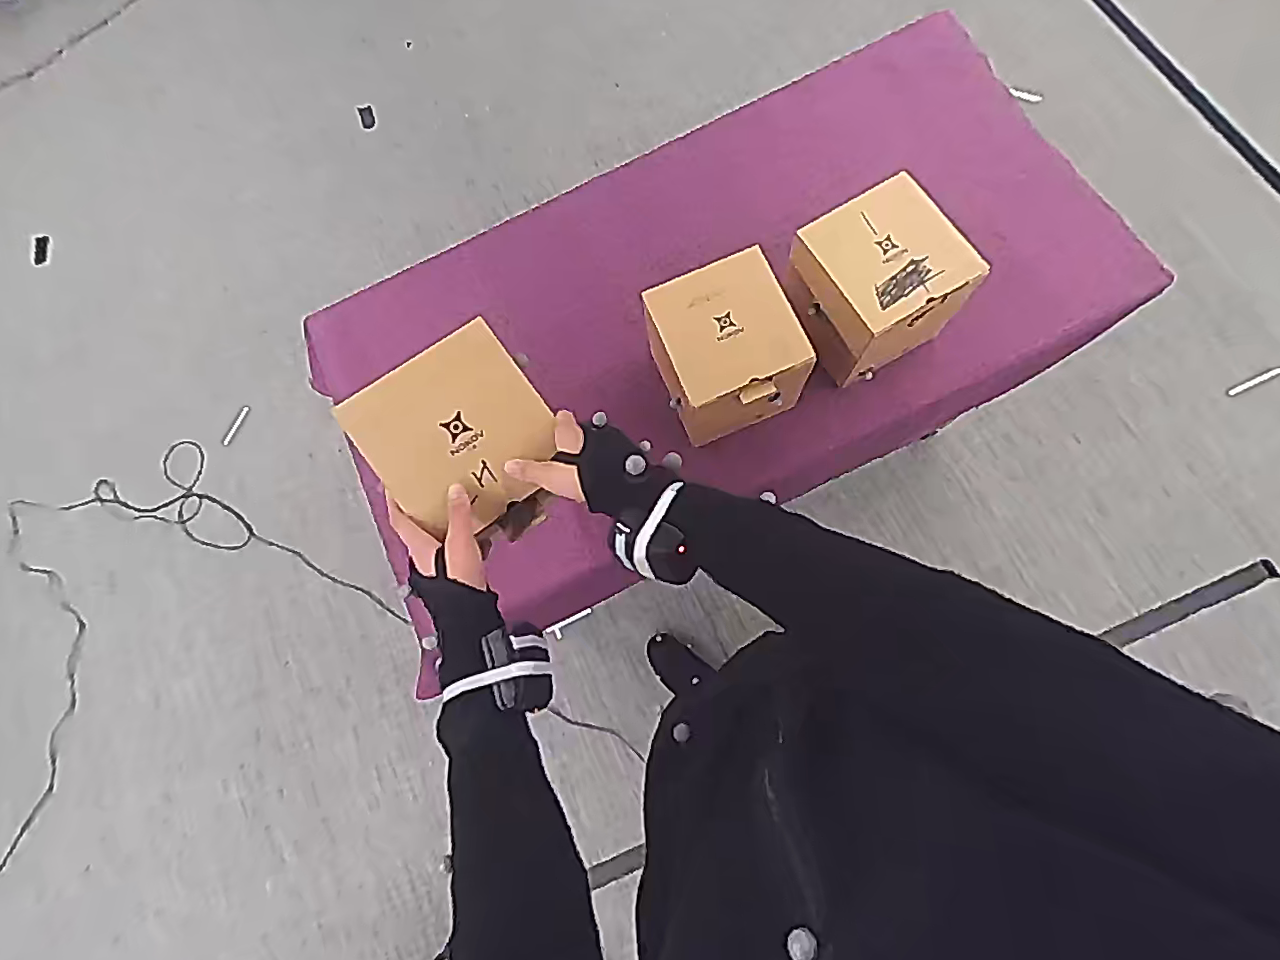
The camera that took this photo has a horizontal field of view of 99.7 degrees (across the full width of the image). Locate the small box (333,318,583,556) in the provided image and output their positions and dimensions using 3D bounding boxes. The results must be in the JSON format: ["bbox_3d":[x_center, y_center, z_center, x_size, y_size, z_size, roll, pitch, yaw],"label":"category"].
[{"bbox_3d":[-0.179,-0.033,0.584,0.168,0.176,0.179,-36,90,-9],"label":"small box"}]

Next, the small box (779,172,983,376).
[{"bbox_3d":[0.314,-0.266,0.747,0.168,0.176,0.179,-29,75,-1],"label":"small box"}]
